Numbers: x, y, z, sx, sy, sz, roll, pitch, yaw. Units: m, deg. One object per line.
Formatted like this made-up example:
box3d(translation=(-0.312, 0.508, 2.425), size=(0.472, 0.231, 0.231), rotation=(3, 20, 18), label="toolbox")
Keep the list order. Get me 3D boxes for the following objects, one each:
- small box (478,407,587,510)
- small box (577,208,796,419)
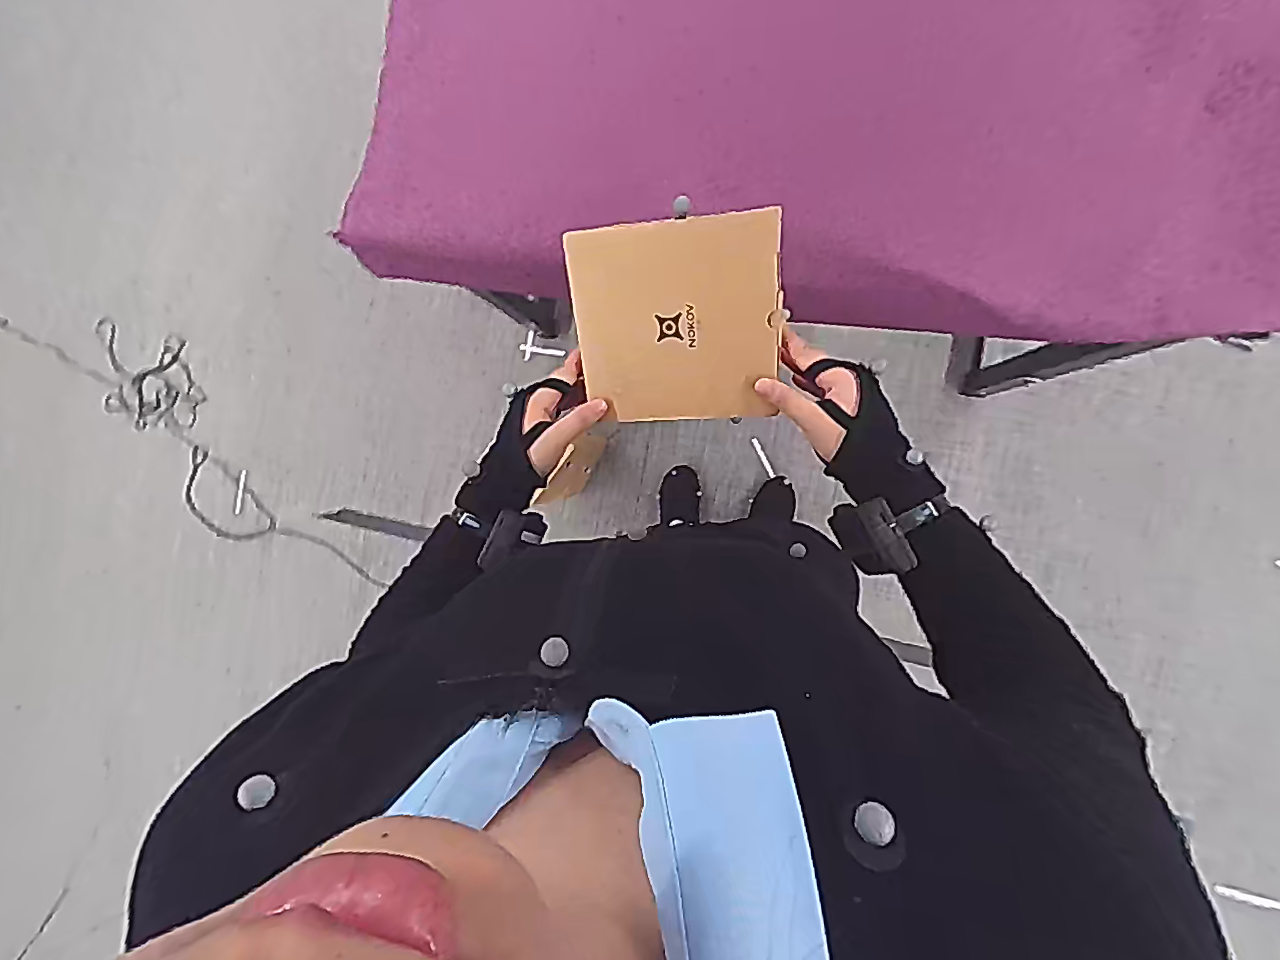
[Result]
box3d(translation=(-0.246, -0.052, 1.297), size=(0.168, 0.176, 0.179), rotation=(38, 98, 6), label="small box")
box3d(translation=(0.054, -0.162, 0.525), size=(0.179, 0.176, 0.168), rotation=(0, 114, 12), label="small box")
